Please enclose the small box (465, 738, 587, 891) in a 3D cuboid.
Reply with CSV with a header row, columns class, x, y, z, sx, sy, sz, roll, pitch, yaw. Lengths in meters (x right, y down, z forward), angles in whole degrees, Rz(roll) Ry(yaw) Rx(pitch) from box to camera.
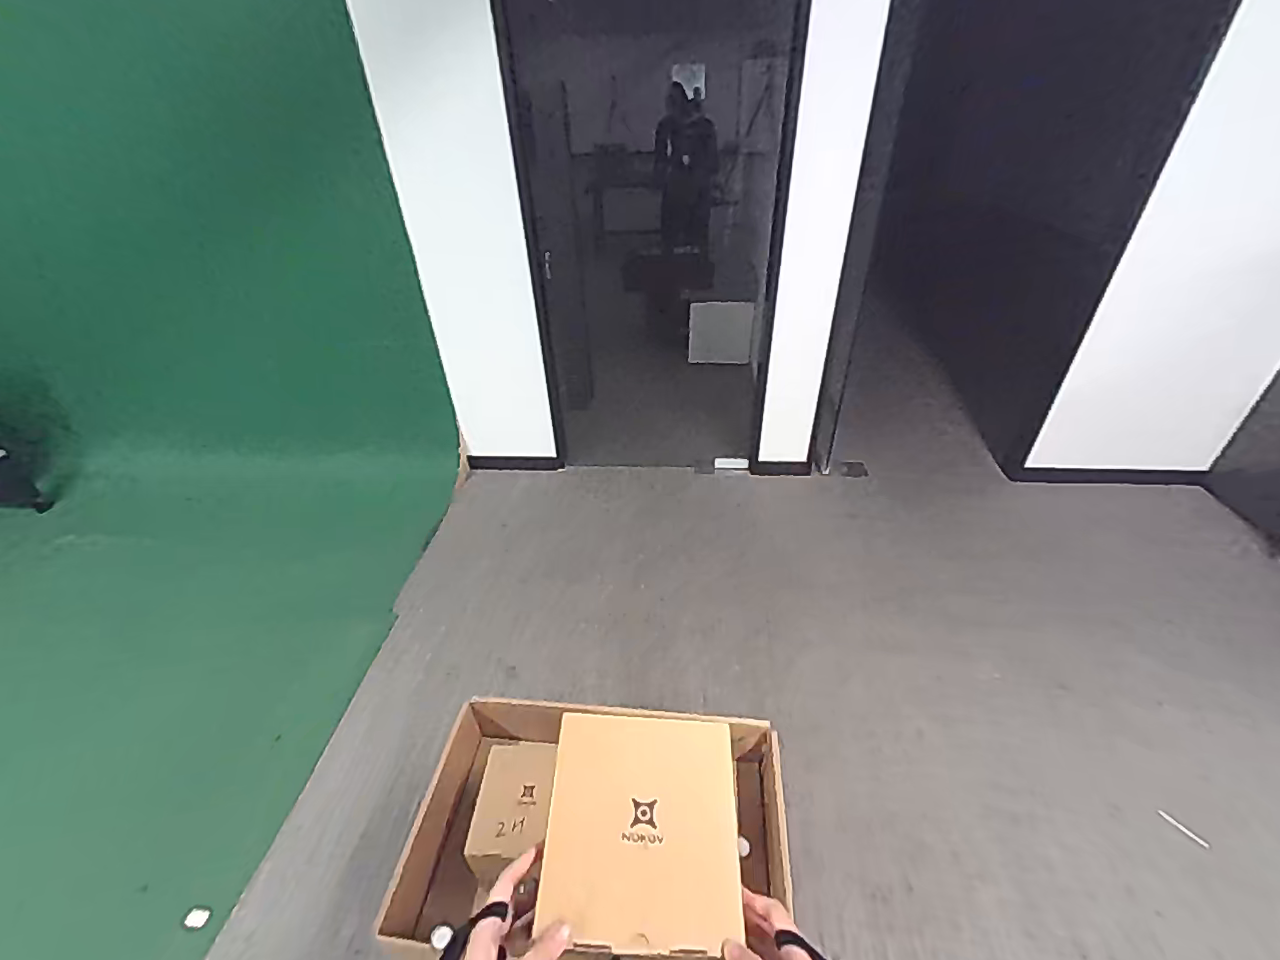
class,x,y,z,sx,sy,sz,roll,pitch,yaw
small box,-0.187,0.585,0.951,0.168,0.176,0.179,1,37,3
